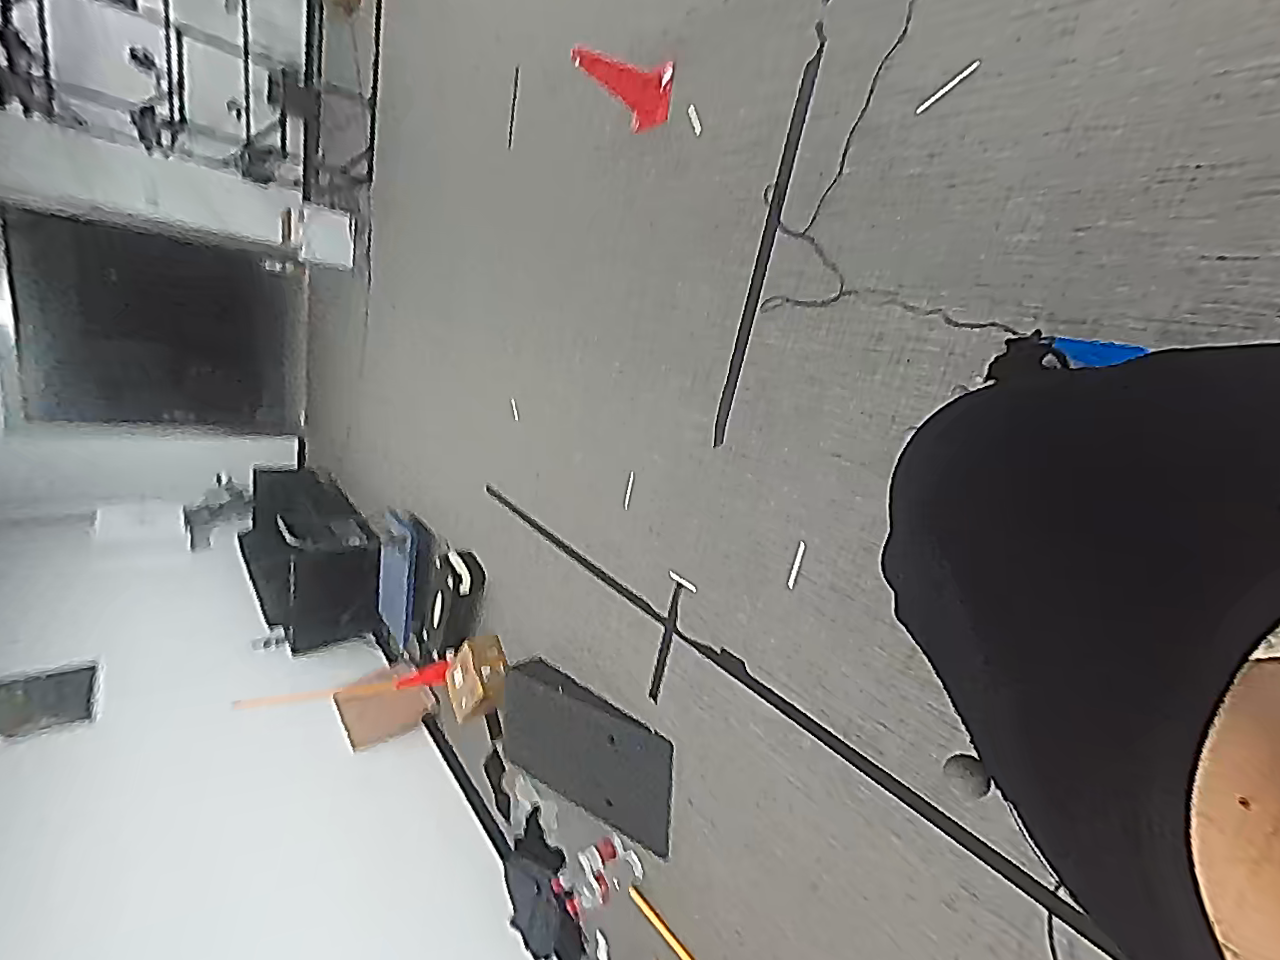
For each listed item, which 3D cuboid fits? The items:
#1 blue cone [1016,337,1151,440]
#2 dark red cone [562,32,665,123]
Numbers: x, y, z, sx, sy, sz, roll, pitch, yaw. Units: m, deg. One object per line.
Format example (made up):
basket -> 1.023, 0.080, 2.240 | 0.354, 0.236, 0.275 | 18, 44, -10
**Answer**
blue cone -> 0.774, -0.184, 0.995 | 0.192, 0.380, 0.193 | 28, 113, 43
dark red cone -> -0.102, -1.430, 1.877 | 0.201, 0.394, 0.202 | 17, 105, 46
